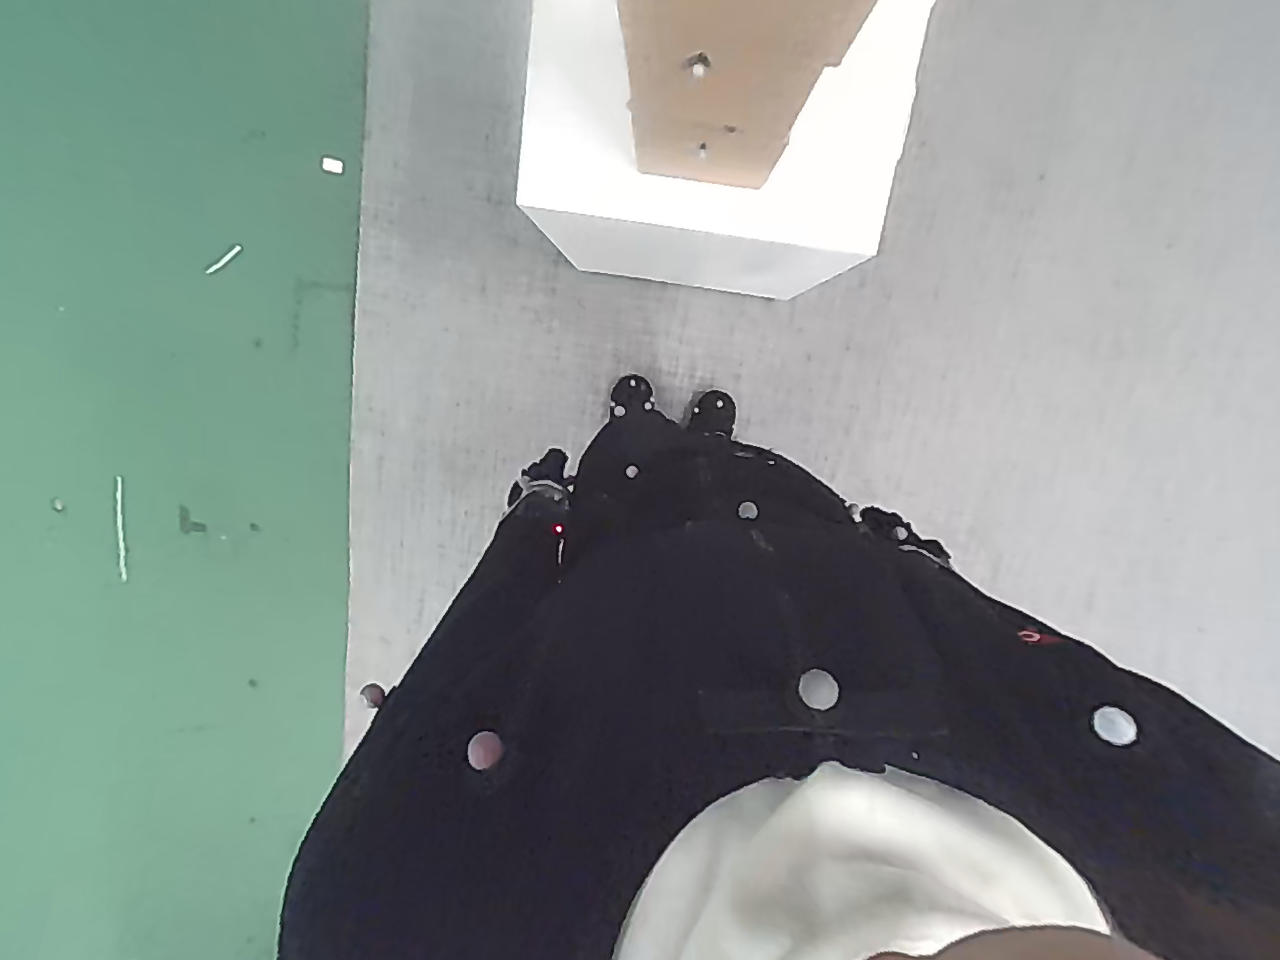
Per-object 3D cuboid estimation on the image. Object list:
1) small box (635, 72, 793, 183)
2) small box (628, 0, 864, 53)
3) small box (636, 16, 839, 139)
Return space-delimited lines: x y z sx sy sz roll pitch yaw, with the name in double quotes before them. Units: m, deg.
"small box" 0.094 -0.478 0.649 0.179 0.176 0.168 8 103 0
"small box" 0.081 -0.405 0.329 0.179 0.176 0.168 11 103 0
"small box" 0.089 -0.446 0.491 0.168 0.176 0.179 7 104 1
